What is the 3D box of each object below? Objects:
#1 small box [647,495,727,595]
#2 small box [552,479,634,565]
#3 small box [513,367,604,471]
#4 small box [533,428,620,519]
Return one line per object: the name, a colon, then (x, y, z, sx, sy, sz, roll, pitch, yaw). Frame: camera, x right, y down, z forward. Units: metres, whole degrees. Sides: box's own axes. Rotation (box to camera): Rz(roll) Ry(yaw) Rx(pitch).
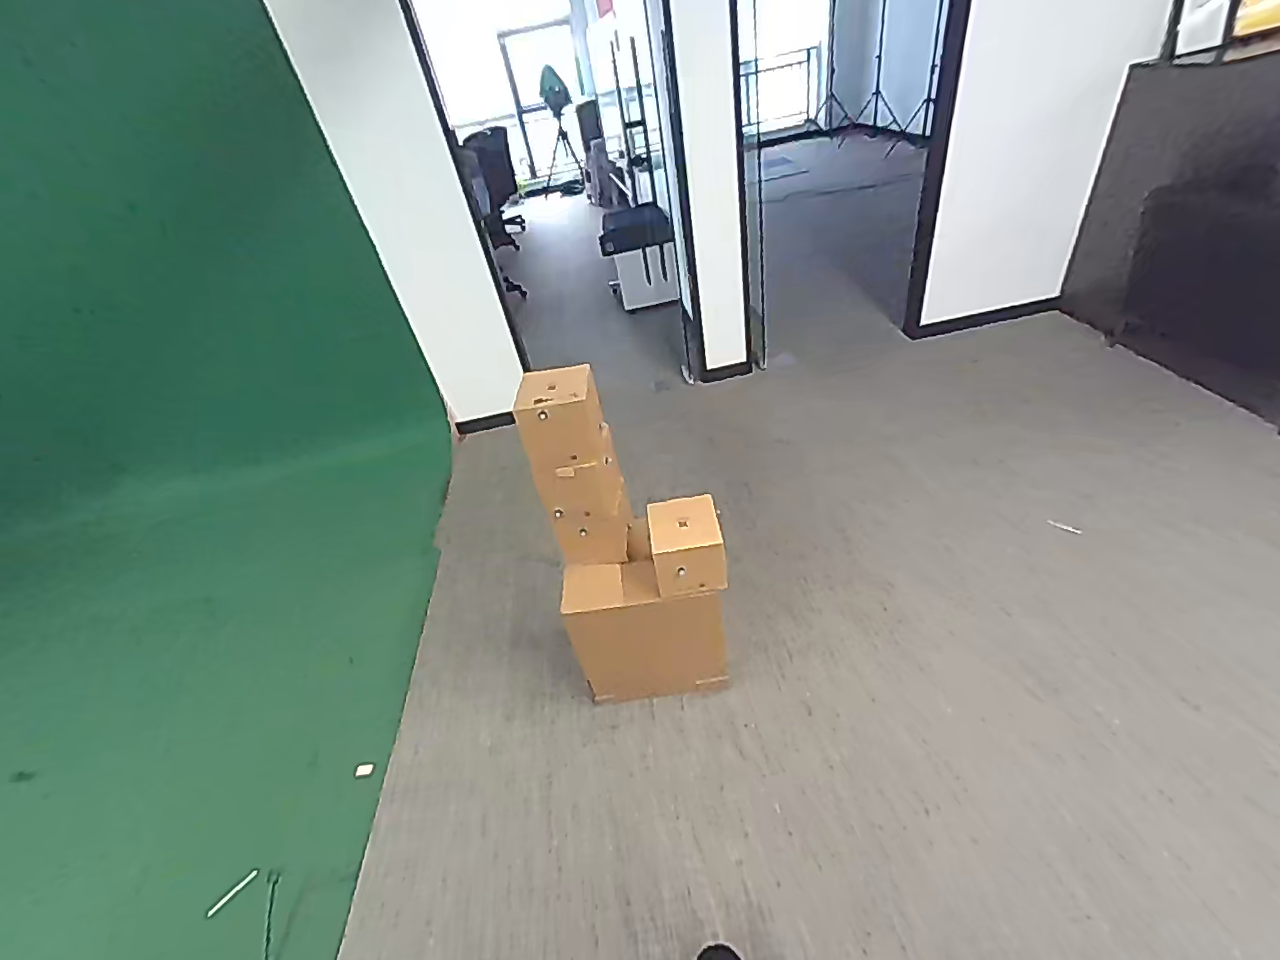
small box: (0.116, 0.167, 1.342, 0.168, 0.176, 0.179, -10, 38, 2)
small box: (-0.122, 0.118, 1.472, 0.179, 0.176, 0.168, -5, 38, 8)
small box: (-0.184, -0.144, 1.280, 0.168, 0.176, 0.179, -9, 36, 6)
small box: (-0.153, -0.011, 1.374, 0.168, 0.176, 0.179, -4, 37, 11)
